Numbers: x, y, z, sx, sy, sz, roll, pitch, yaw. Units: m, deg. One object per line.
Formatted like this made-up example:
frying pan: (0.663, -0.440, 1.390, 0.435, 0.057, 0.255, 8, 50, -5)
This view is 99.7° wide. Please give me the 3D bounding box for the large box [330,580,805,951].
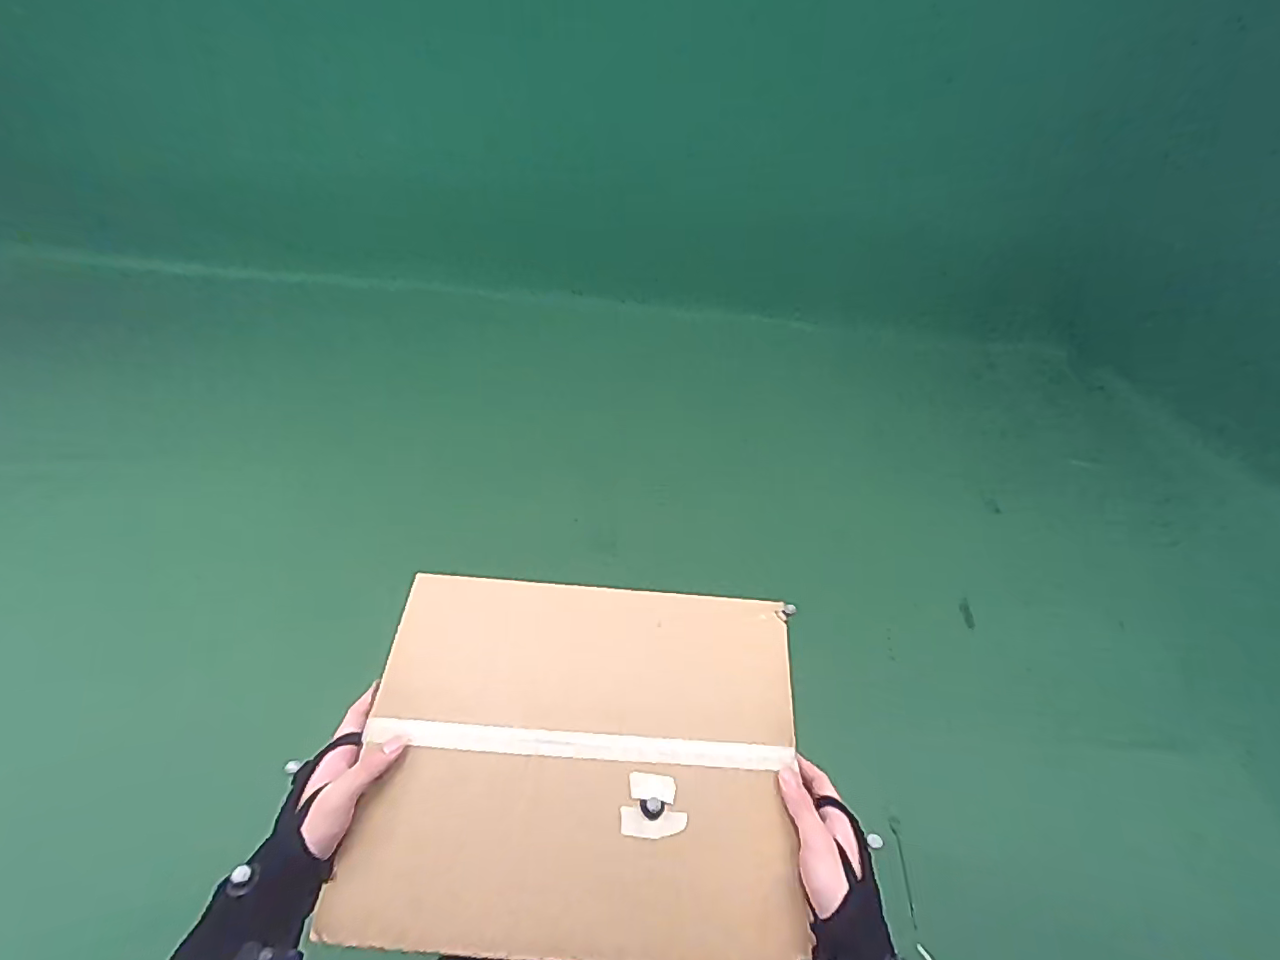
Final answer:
large box: (-0.063, 0.334, 0.650, 0.408, 0.320, 0.320, 5, 57, -2)
